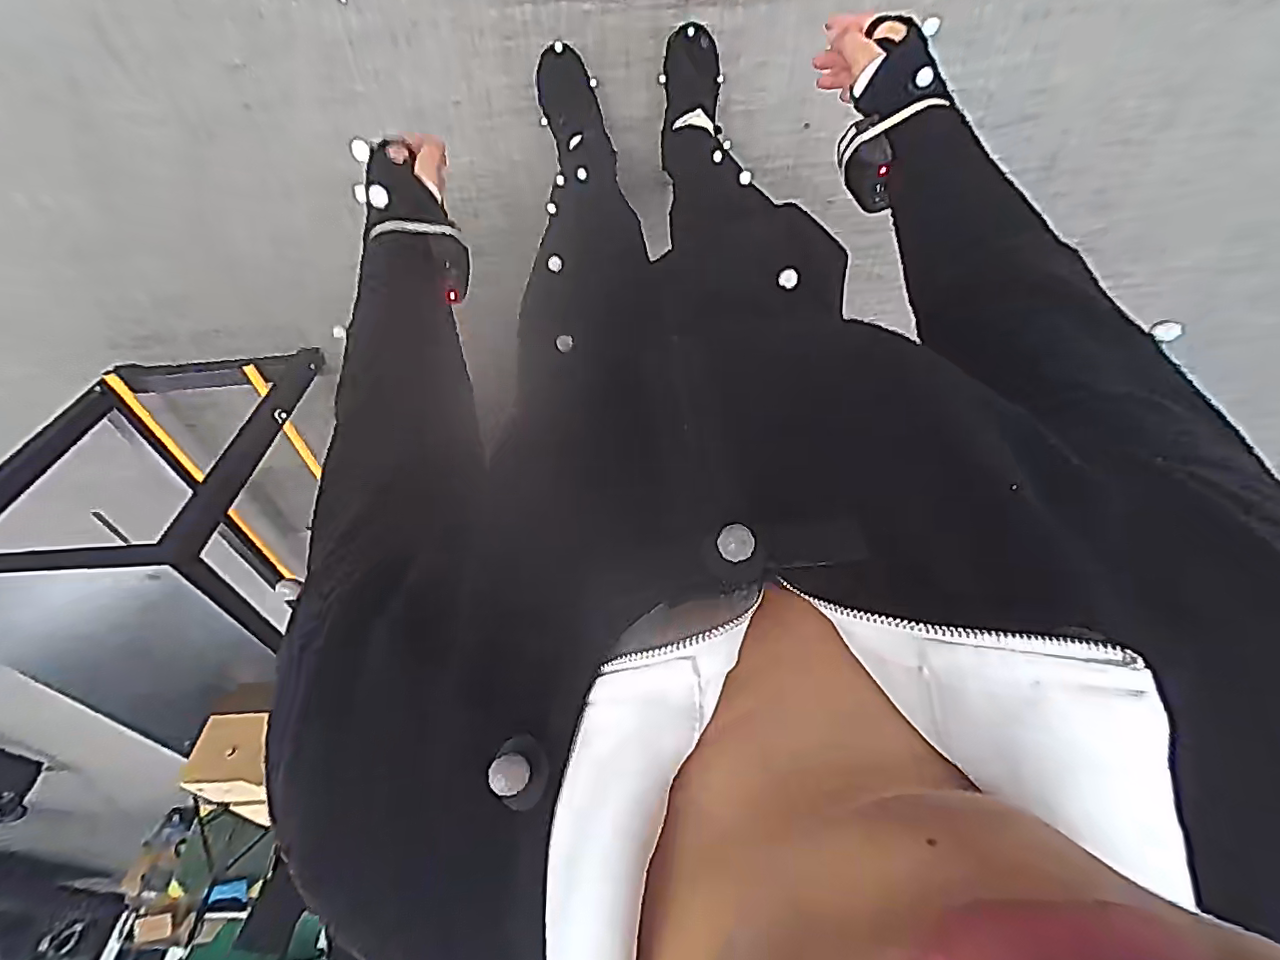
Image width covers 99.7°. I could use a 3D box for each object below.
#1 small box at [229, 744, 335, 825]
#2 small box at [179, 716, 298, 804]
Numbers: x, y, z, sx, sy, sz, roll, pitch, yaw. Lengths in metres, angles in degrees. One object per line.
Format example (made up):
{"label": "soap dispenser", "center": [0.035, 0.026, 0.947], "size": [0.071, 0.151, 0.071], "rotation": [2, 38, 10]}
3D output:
{"label": "small box", "center": [-1.037, 0.892, 1.587], "size": [0.168, 0.176, 0.179], "rotation": [-5, 134, 2]}
{"label": "small box", "center": [-1.048, 0.740, 1.436], "size": [0.179, 0.176, 0.168], "rotation": [-3, 135, 0]}
